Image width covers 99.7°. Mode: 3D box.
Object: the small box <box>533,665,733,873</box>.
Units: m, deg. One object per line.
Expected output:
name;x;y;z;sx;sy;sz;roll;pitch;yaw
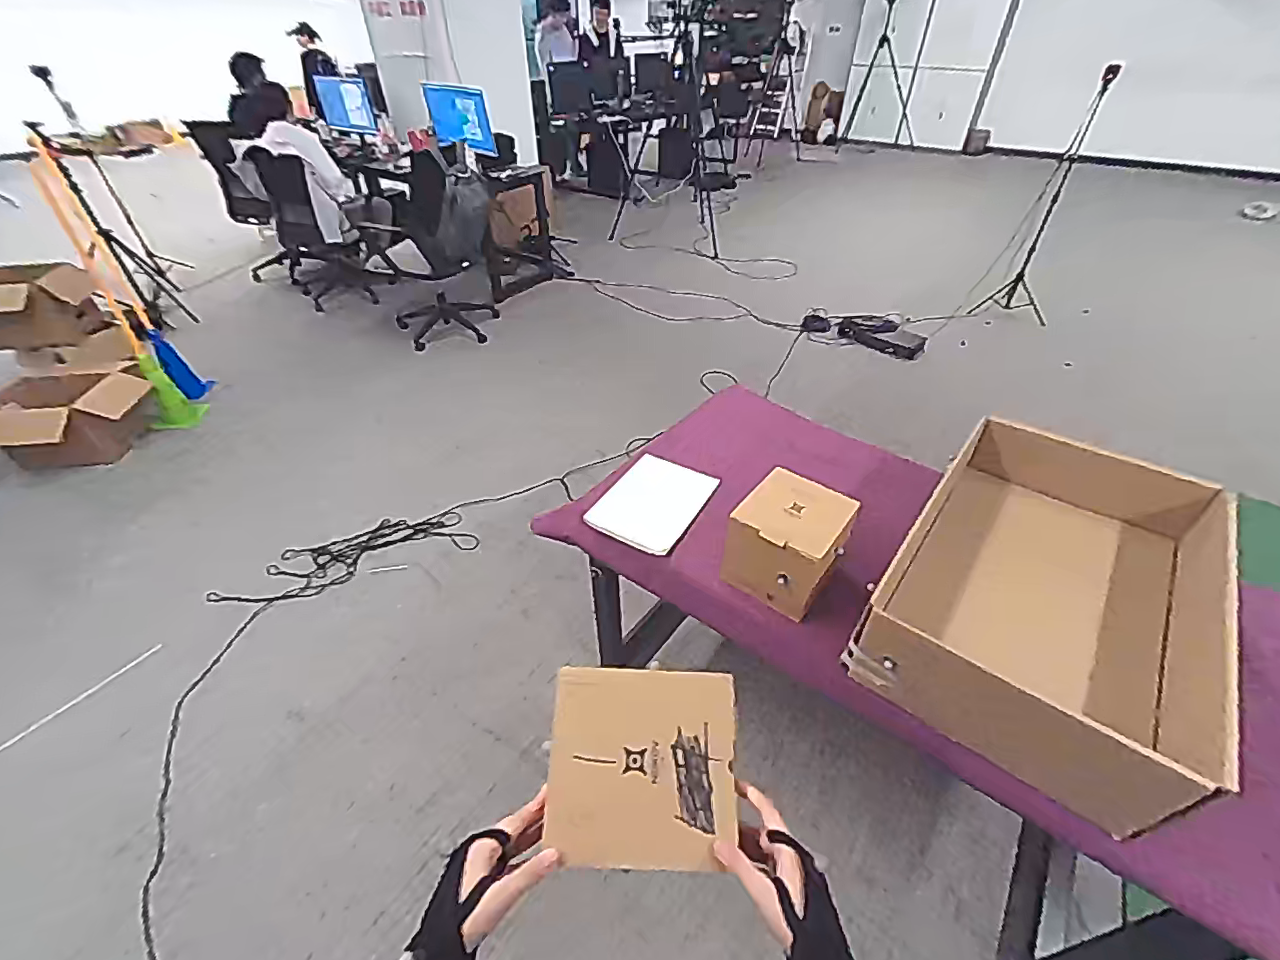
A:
small box;-0.008;0.295;0.572;0.179;0.176;0.168;4;64;-2

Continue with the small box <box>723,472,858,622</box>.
small box;0.265;0.121;0.979;0.168;0.176;0.179;28;46;29
